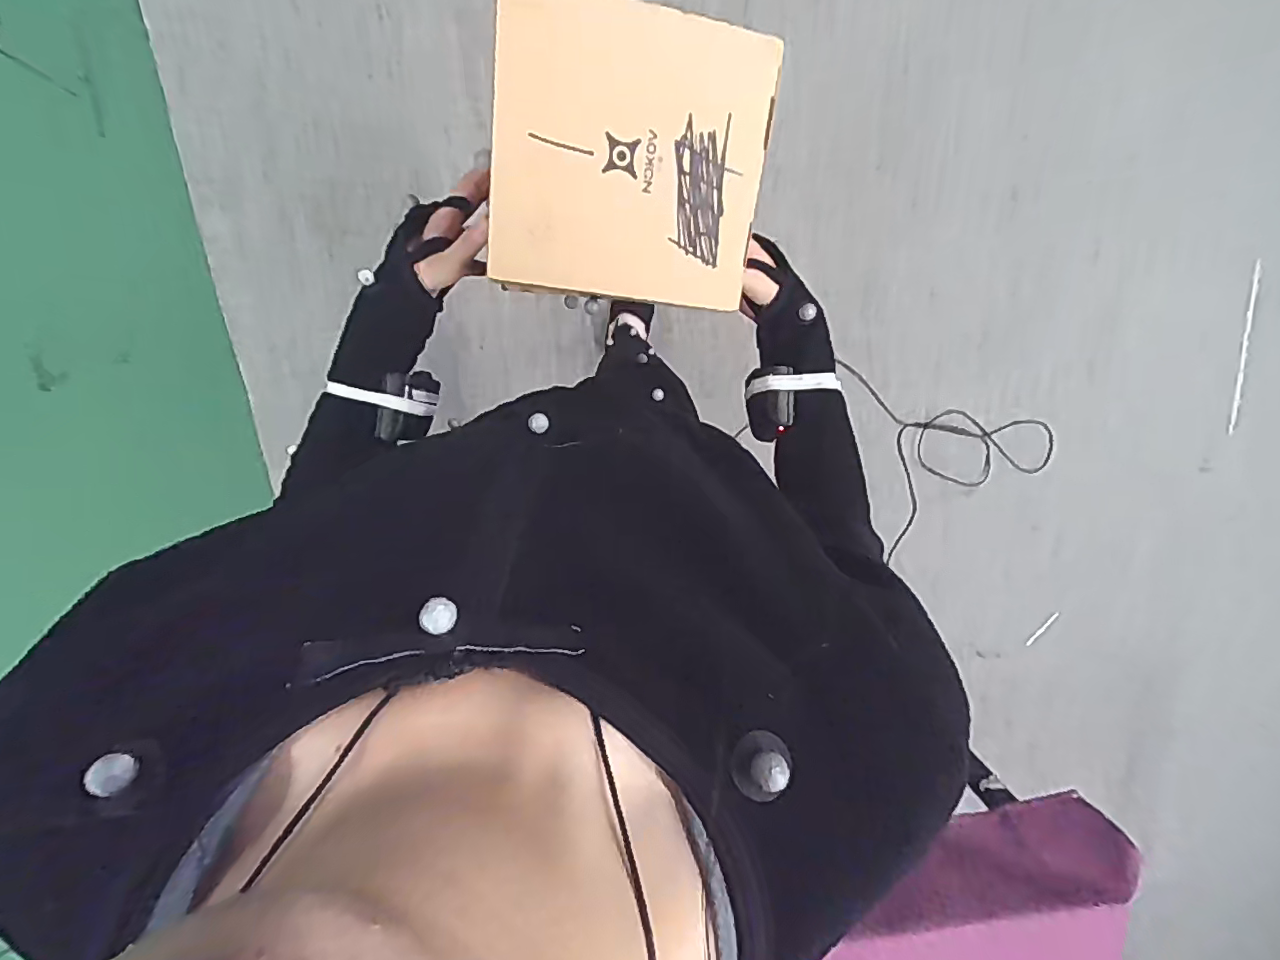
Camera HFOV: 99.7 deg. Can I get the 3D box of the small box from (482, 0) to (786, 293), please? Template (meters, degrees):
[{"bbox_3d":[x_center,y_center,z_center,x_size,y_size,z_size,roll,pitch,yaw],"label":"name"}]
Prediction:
[{"bbox_3d":[-0.021,-0.242,0.410,0.179,0.176,0.168,4,108,-13],"label":"small box"}]
